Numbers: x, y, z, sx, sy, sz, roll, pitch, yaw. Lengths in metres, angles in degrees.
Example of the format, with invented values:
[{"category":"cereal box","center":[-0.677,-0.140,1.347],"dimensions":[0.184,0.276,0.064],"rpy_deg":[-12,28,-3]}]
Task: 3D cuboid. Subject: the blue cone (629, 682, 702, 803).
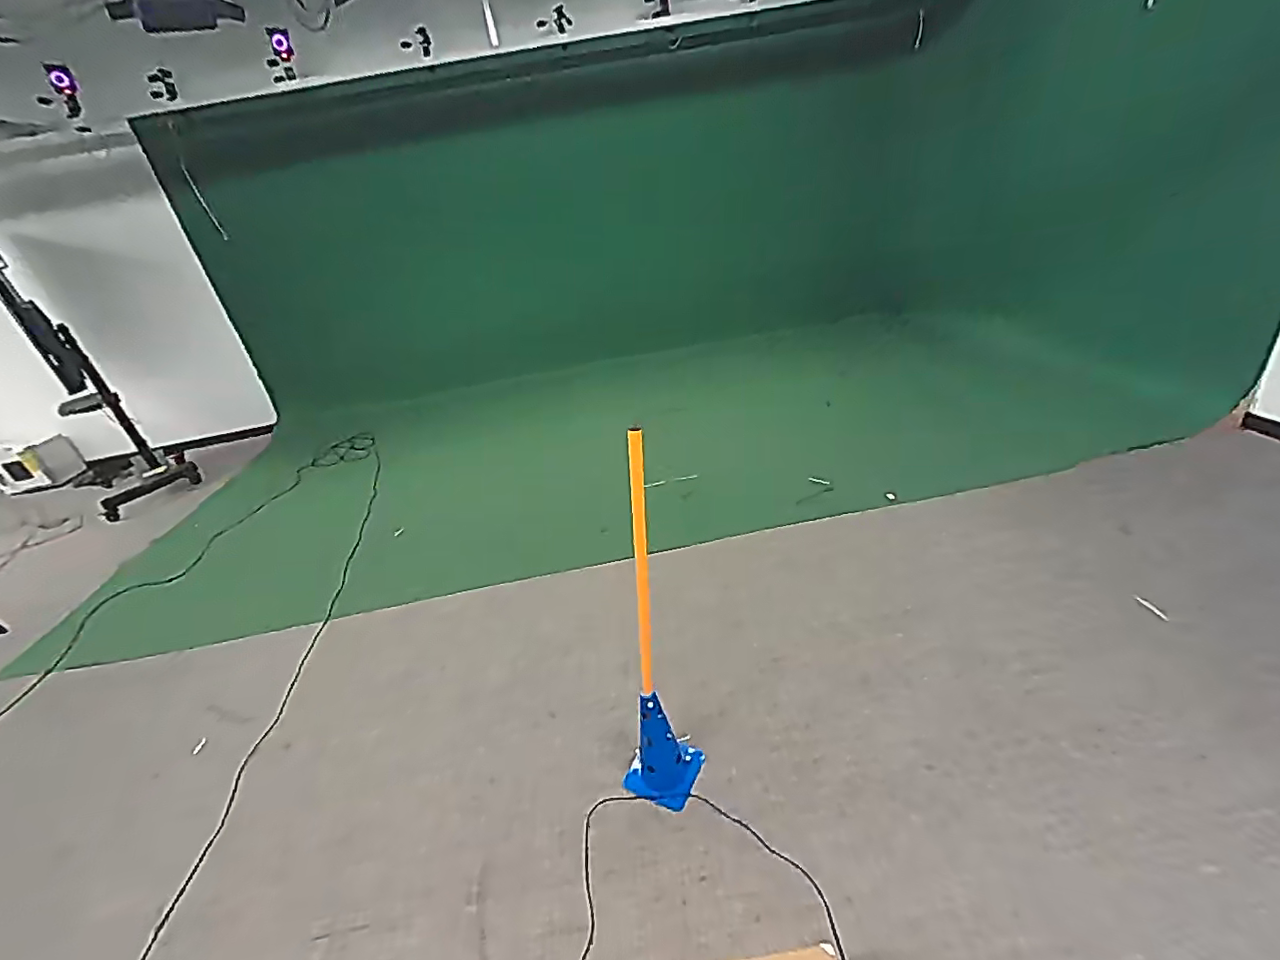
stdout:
[{"category":"blue cone","center":[0.053,0.723,1.555],"dimensions":[0.192,0.380,0.193],"rpy_deg":[6,32,26]}]
